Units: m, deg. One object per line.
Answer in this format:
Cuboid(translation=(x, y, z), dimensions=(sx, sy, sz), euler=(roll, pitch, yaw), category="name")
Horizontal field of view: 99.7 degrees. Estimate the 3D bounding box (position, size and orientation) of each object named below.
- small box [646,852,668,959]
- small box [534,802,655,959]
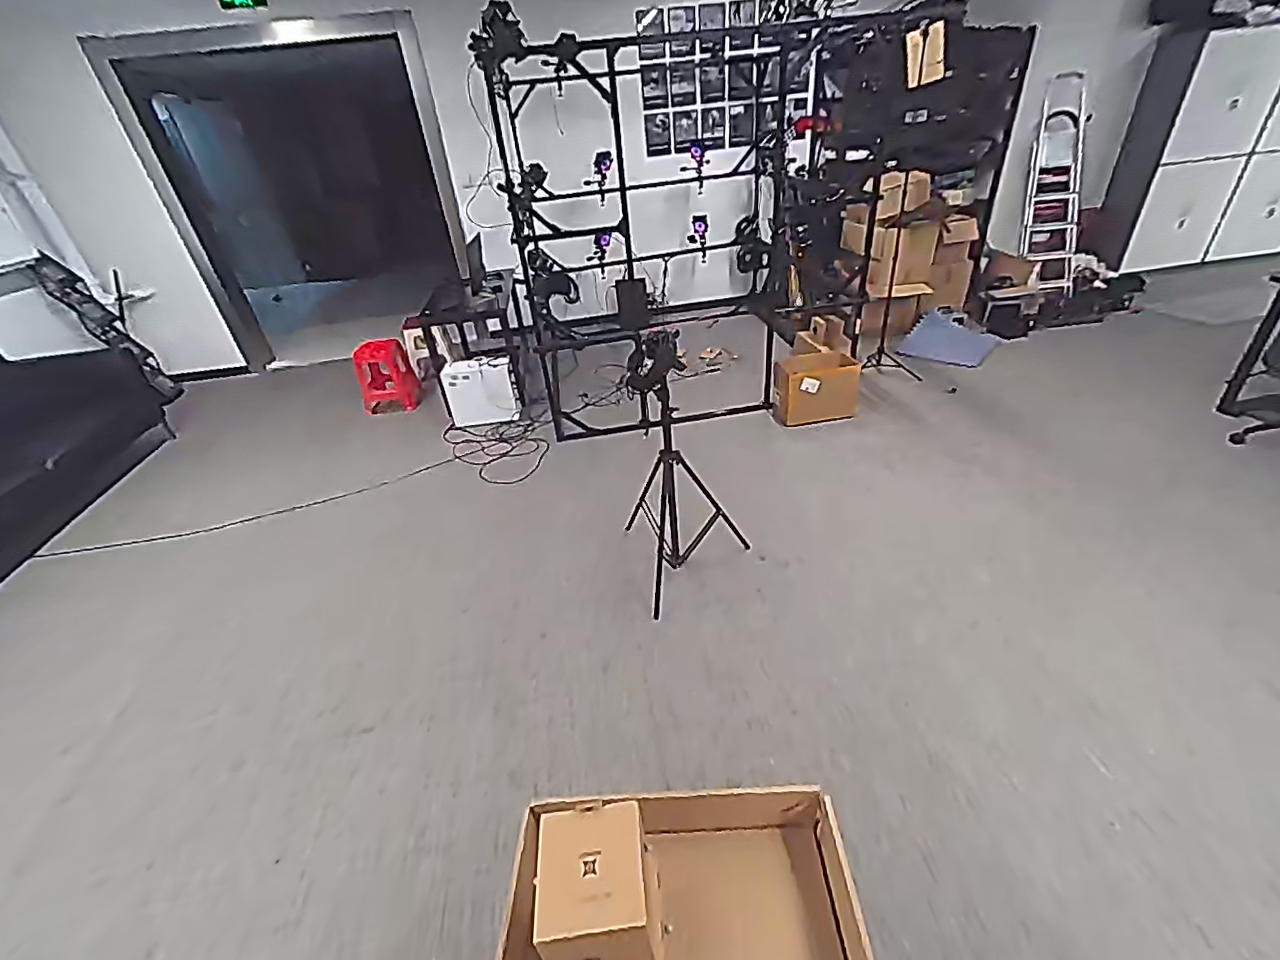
Cuboid(translation=(-0.045, 0.801, 0.966), dimensions=(0.179, 0.176, 0.168), euler=(-5, 33, 0), category="small box")
Cuboid(translation=(-0.070, 0.664, 0.878), dimensions=(0.168, 0.176, 0.179), euler=(-8, 32, -1), category="small box")
